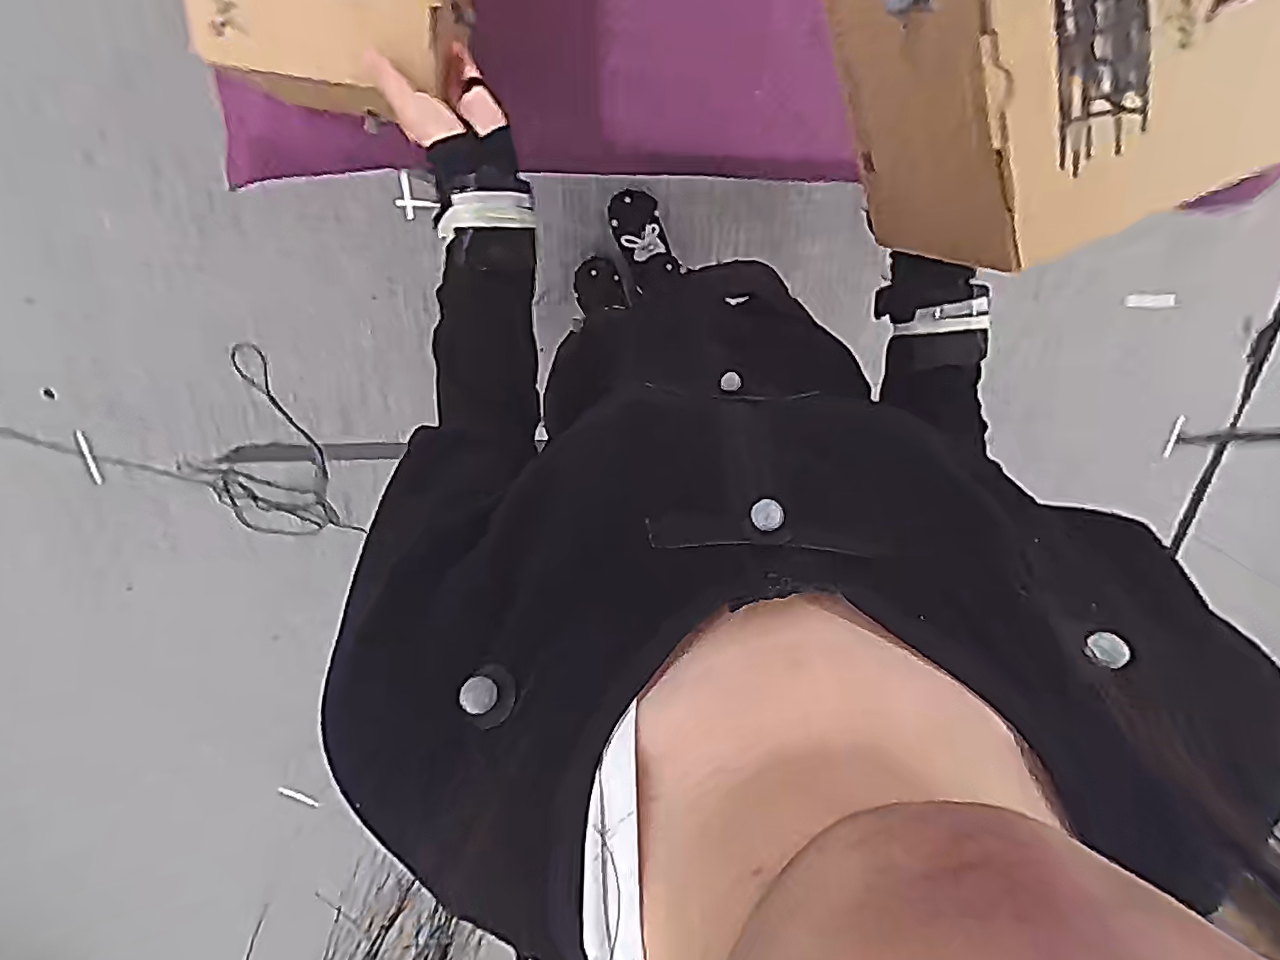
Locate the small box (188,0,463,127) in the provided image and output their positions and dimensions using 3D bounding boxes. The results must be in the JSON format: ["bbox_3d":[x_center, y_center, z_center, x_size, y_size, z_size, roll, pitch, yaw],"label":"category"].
[{"bbox_3d":[-0.248,-0.418,0.459,0.179,0.176,0.168,3,114,-10],"label":"small box"}]
